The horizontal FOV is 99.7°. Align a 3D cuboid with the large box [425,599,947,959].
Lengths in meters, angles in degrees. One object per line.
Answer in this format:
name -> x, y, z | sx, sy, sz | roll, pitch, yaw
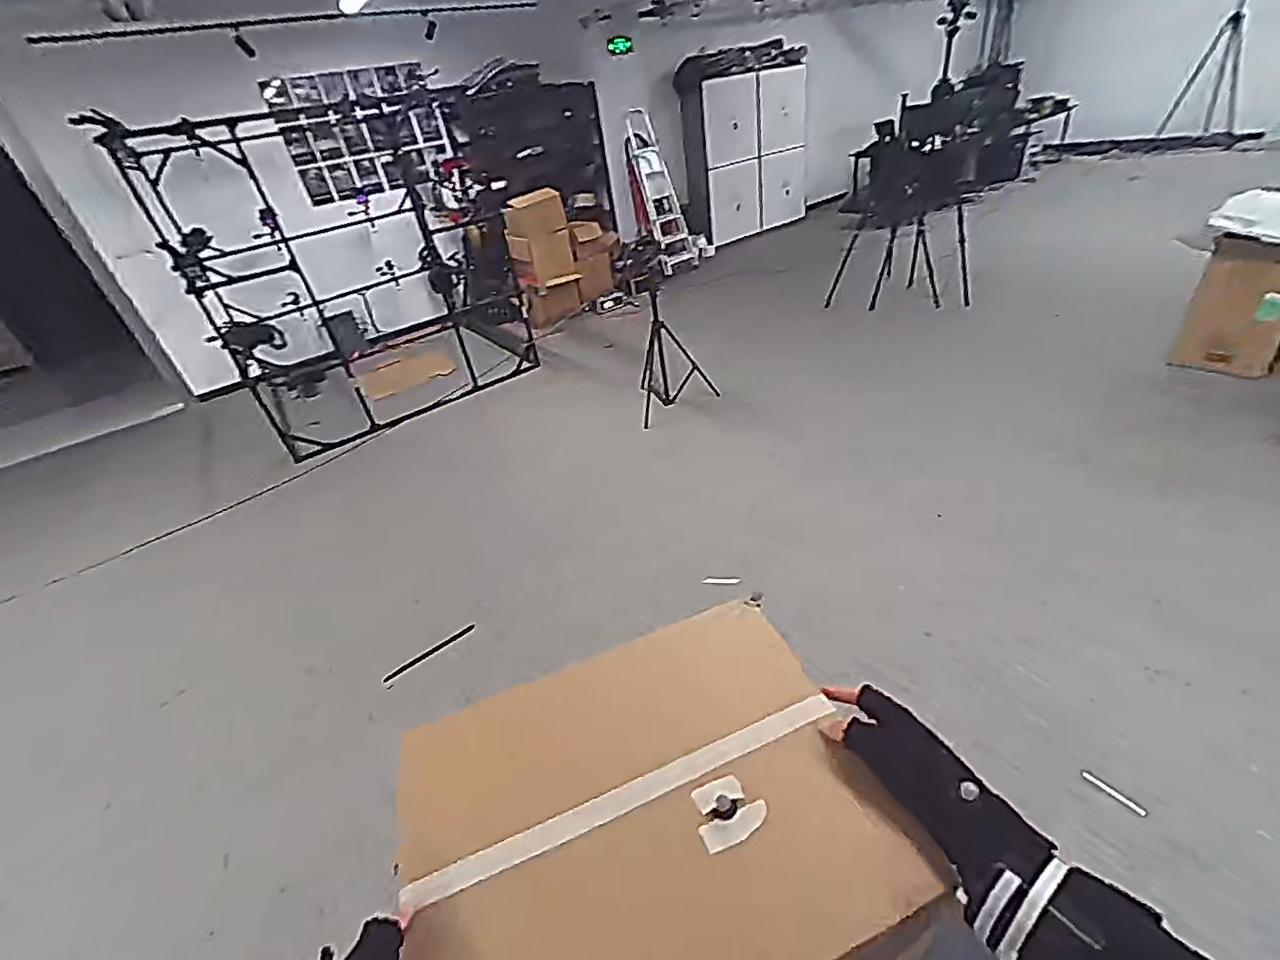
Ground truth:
large box -> 0.025, 0.400, 0.580 | 0.408, 0.320, 0.320 | -18, 37, -12
